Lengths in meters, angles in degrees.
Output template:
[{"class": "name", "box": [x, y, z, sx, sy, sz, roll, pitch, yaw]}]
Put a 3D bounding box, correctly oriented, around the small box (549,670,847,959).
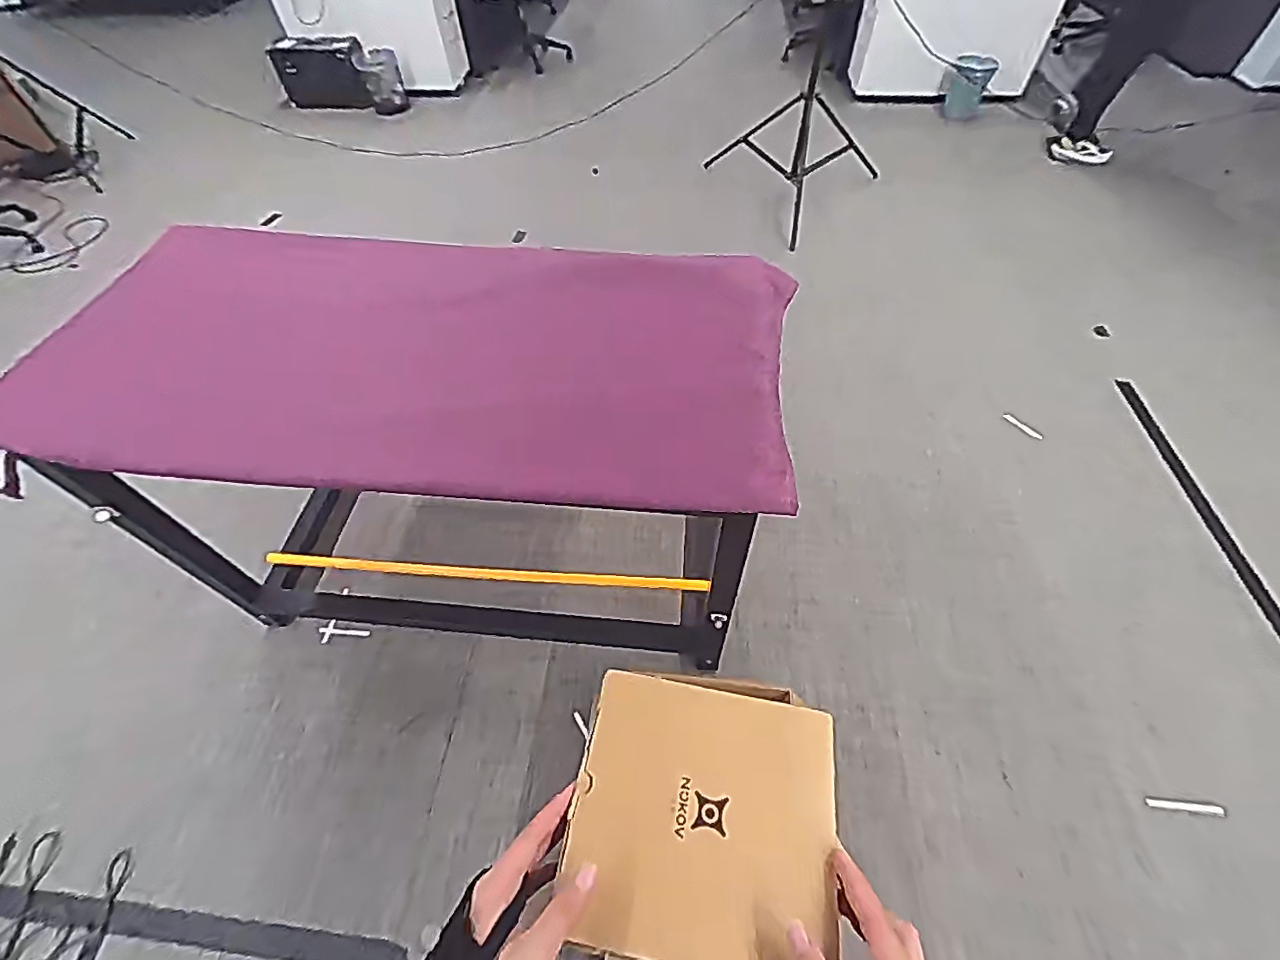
[{"class": "small box", "box": [0.046, 0.273, 0.420, 0.179, 0.176, 0.168, 8, 49, 8]}]
